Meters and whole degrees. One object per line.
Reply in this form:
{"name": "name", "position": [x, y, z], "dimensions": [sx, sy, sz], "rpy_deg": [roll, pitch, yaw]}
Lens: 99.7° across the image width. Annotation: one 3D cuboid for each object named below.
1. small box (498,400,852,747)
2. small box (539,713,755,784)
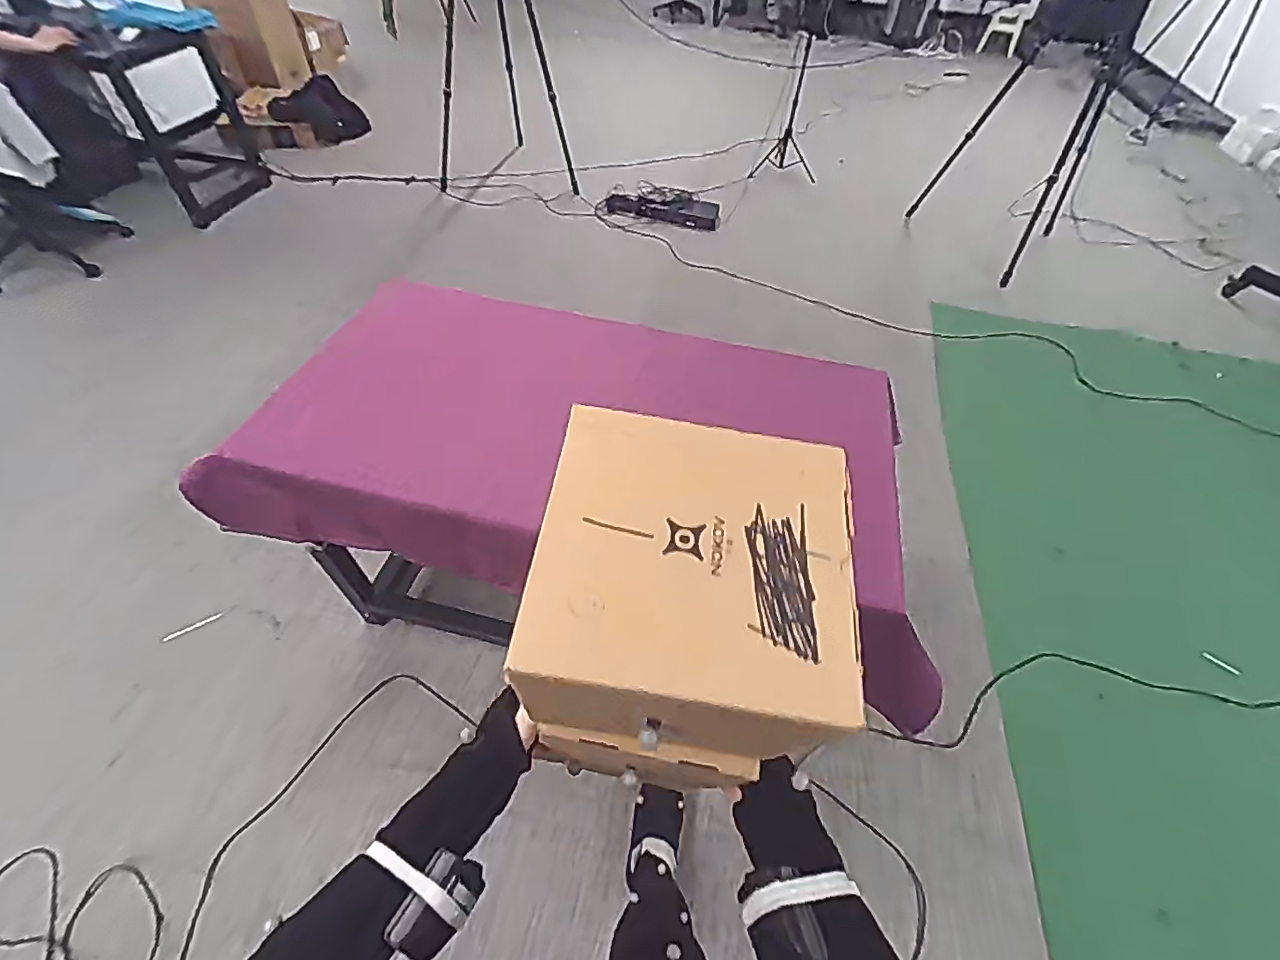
{"name": "small box", "position": [0.021, 0.074, 0.368], "dimensions": [0.179, 0.176, 0.168], "rpy_deg": [10, 57, 0]}
{"name": "small box", "position": [0.010, 0.165, 0.503], "dimensions": [0.168, 0.176, 0.179], "rpy_deg": [12, 57, 2]}
